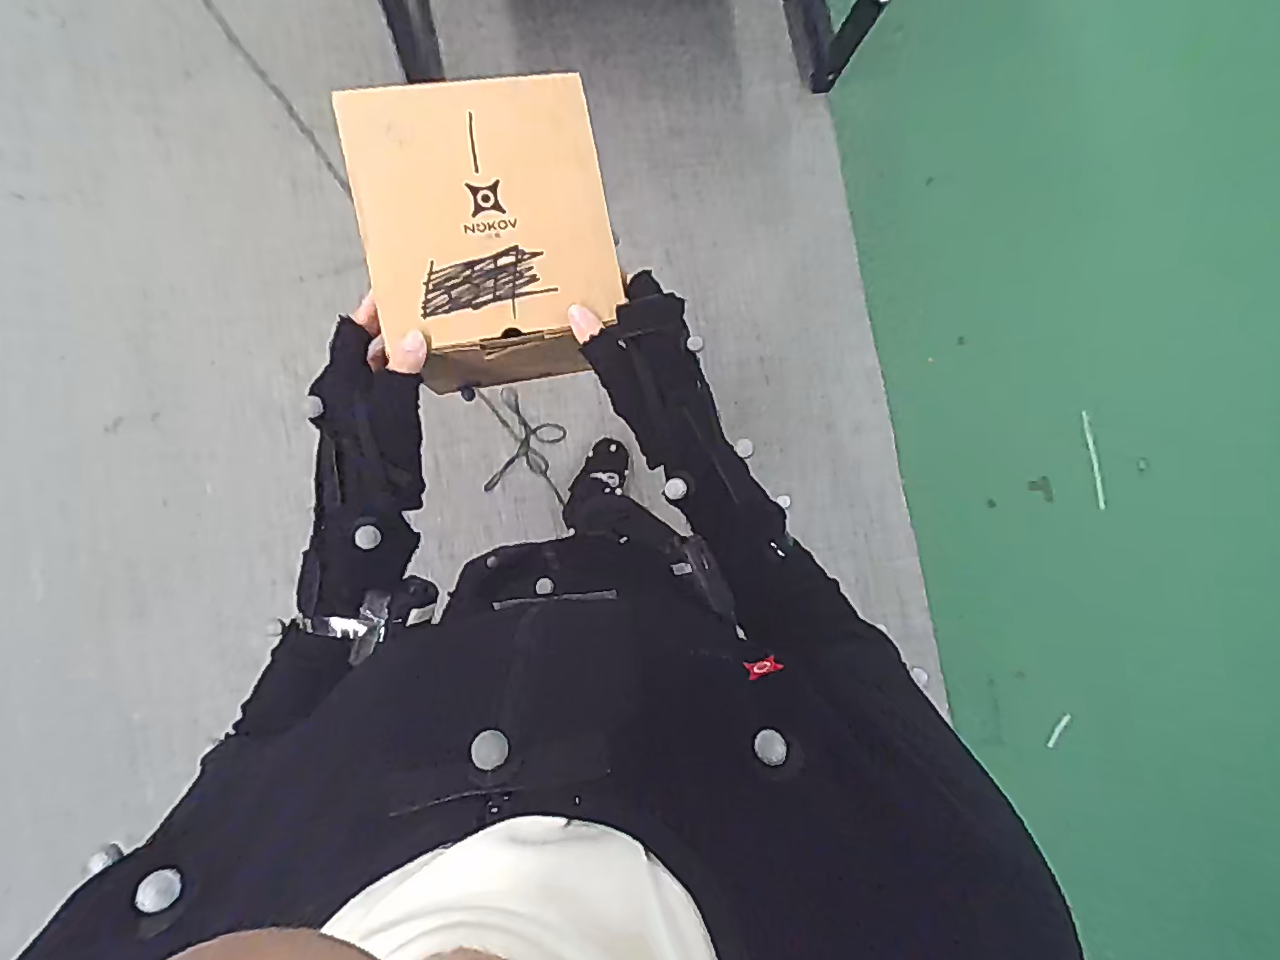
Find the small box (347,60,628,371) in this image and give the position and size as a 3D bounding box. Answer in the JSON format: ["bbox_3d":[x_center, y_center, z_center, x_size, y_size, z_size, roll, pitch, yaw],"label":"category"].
[{"bbox_3d":[-0.111,-0.195,0.447,0.168,0.176,0.179,-10,91,-9],"label":"small box"}]
